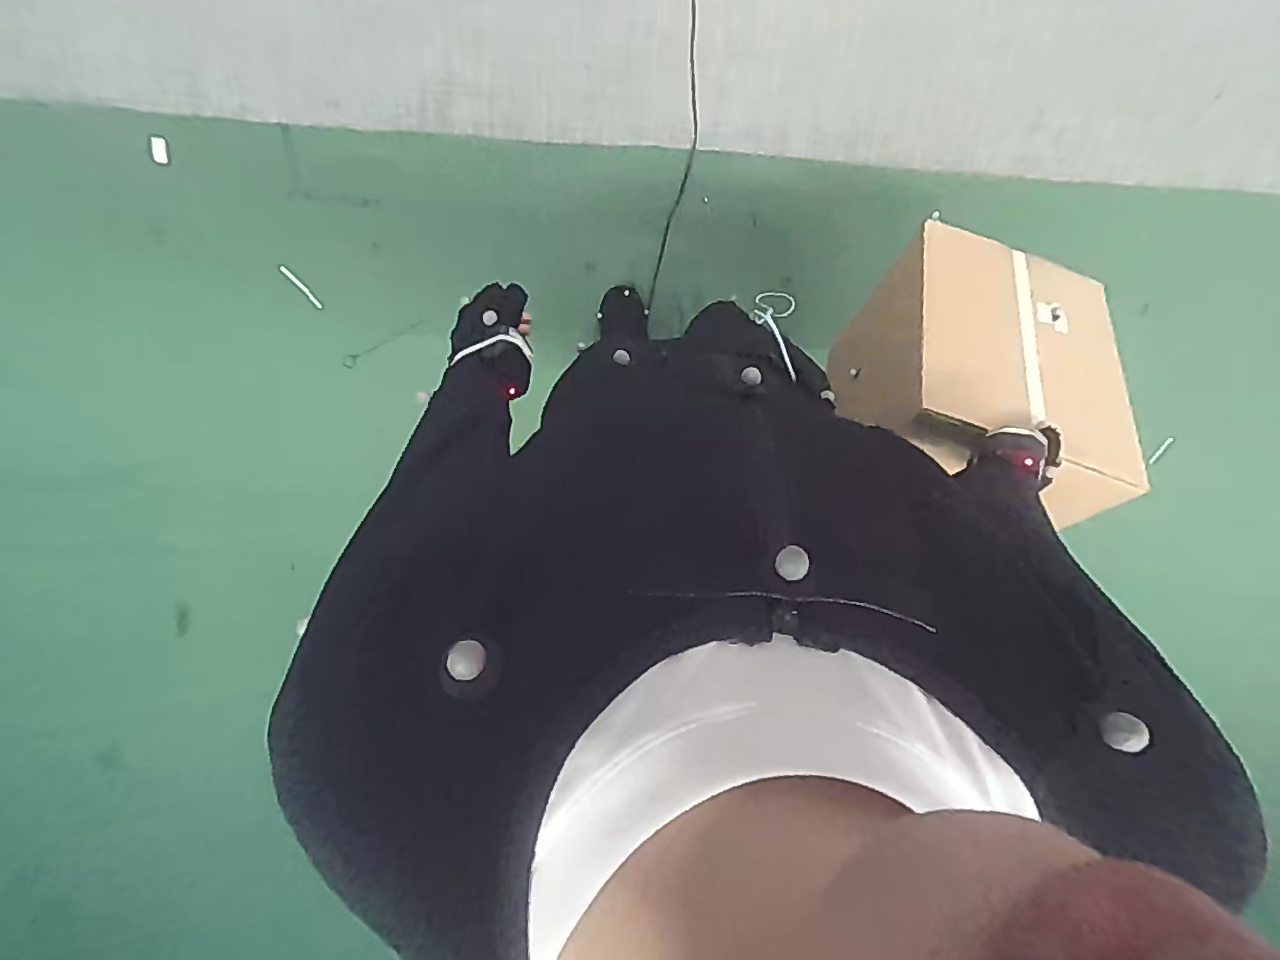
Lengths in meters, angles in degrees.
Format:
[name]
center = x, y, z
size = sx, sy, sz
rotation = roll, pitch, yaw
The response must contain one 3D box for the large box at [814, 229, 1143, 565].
[large box]
center = 0.515, -0.126, 0.905
size = 0.320, 0.408, 0.320
rotation = 20, 149, -3
